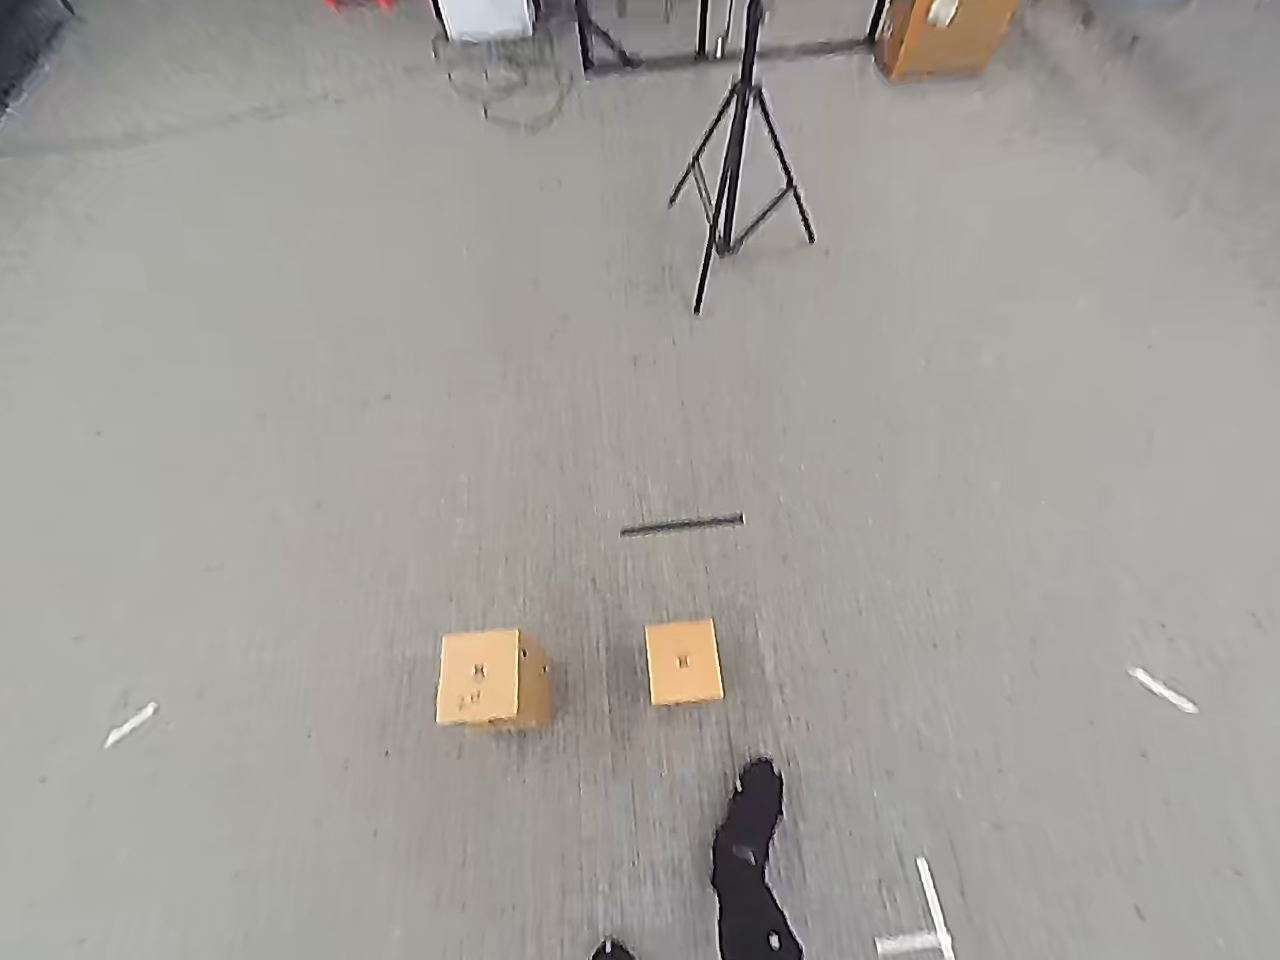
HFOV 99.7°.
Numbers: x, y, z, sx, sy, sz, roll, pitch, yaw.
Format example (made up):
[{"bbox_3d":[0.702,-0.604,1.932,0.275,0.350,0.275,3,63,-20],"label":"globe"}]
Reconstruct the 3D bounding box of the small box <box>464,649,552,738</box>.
[{"bbox_3d":[-0.310,0.519,1.306,0.168,0.176,0.179,-6,63,1],"label":"small box"}]

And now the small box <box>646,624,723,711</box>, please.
[{"bbox_3d":[0.105,0.461,1.318,0.168,0.176,0.179,-6,62,-1],"label":"small box"}]

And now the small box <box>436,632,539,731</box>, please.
[{"bbox_3d":[-0.319,0.437,1.164,0.168,0.176,0.179,-6,63,1],"label":"small box"}]
